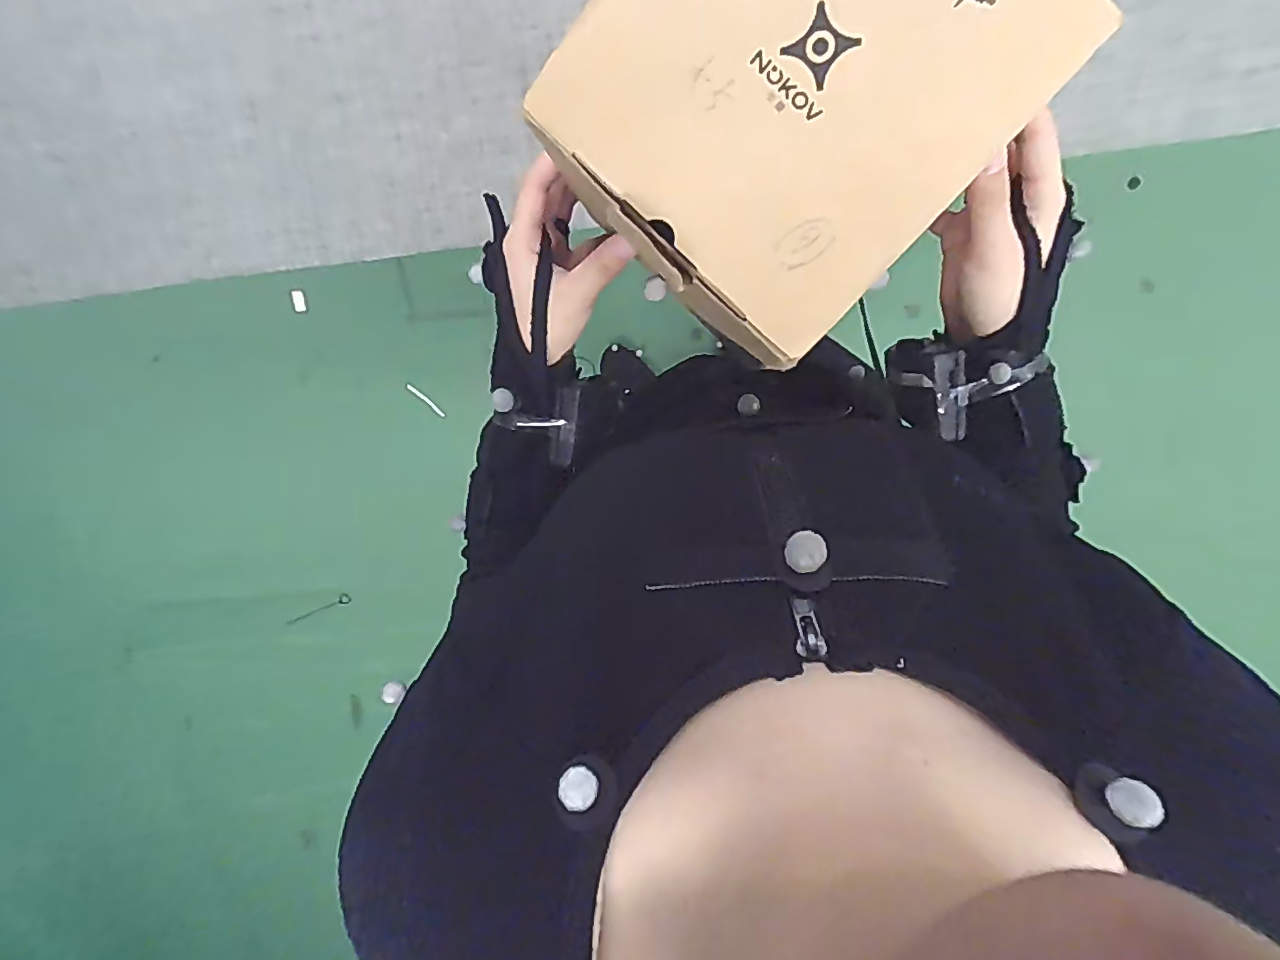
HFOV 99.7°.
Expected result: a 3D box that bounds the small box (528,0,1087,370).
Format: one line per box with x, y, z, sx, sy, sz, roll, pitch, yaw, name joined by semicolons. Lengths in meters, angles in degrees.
0.073;-0.181;0.307;0.168;0.176;0.179;42;104;-3;small box
